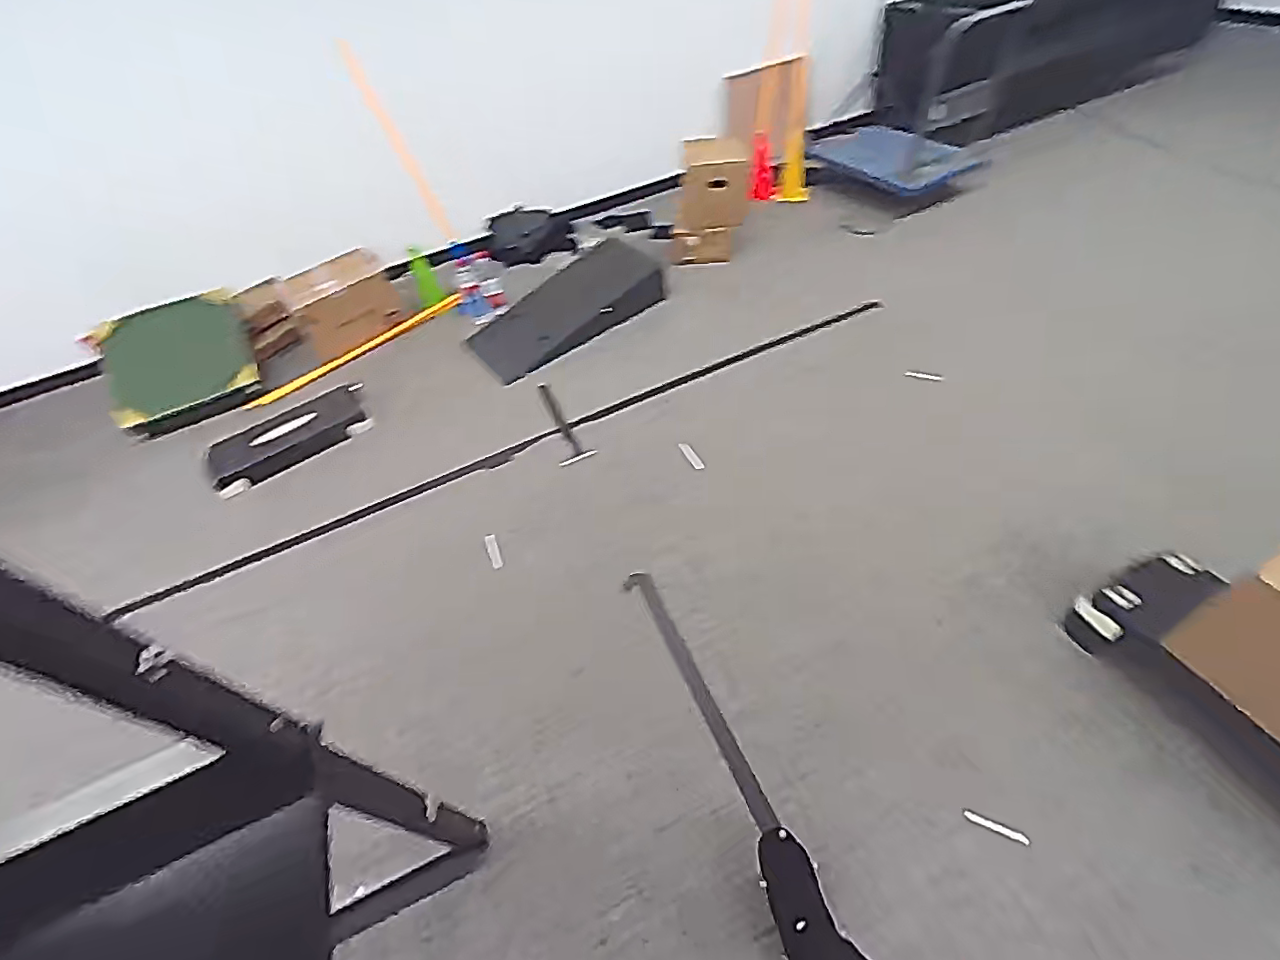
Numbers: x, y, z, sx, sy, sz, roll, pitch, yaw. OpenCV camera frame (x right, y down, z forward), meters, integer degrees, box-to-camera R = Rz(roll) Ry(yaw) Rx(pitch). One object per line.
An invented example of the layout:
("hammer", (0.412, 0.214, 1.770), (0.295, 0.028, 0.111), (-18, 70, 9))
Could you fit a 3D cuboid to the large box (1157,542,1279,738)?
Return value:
("large box", (1.360, 0.331, 1.016), (0.320, 0.320, 0.408), (-23, 47, -11))
